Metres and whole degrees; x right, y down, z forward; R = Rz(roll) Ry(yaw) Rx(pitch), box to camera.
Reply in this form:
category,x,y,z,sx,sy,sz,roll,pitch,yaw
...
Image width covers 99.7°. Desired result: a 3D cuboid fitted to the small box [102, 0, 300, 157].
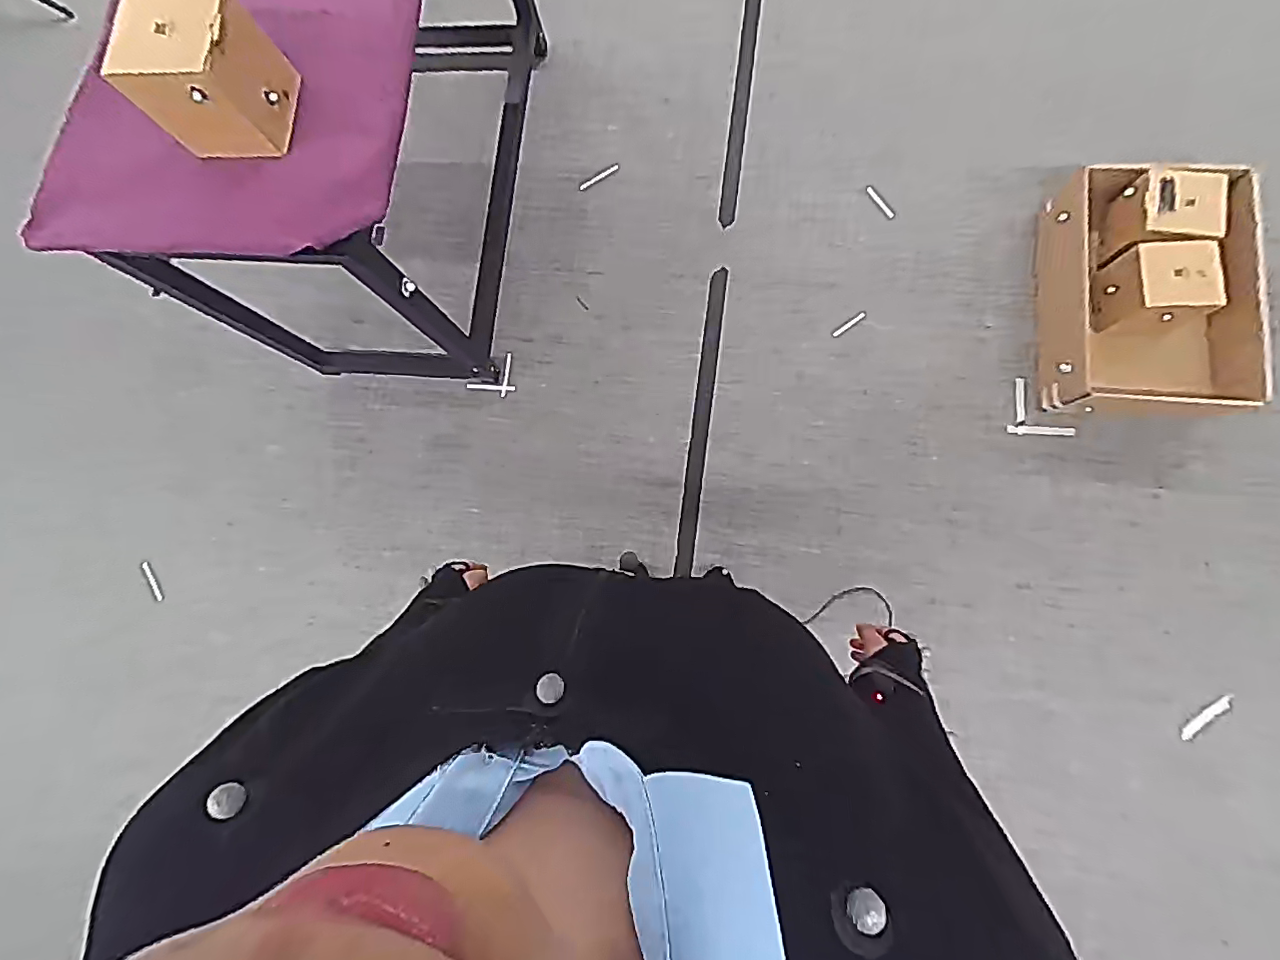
category,x,y,z,sx,sy,sz,roll,pitch,yaw
small box,-0.715,-0.669,0.899,0.179,0.176,0.168,2,80,5

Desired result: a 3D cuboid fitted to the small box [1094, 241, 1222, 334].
category,x,y,z,sx,sy,sz,roll,pitch,yaw
small box,1.295,-0.480,1.369,0.179,0.176,0.168,1,82,6
